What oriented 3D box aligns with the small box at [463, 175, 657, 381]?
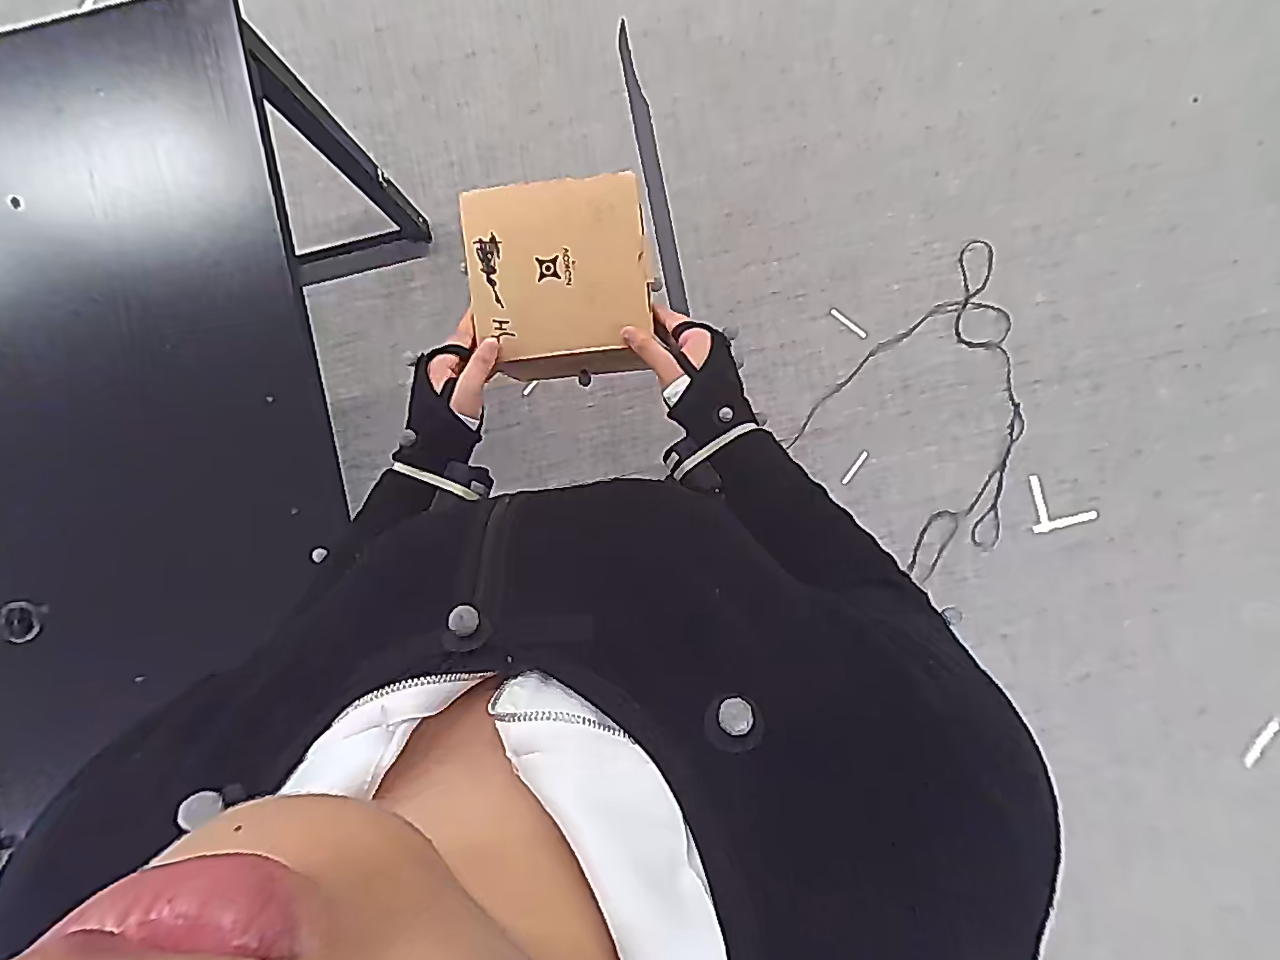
[{"bbox_3d":[-0.077,-0.208,0.599,0.179,0.176,0.168,-5,92,0],"label":"small box"}]
